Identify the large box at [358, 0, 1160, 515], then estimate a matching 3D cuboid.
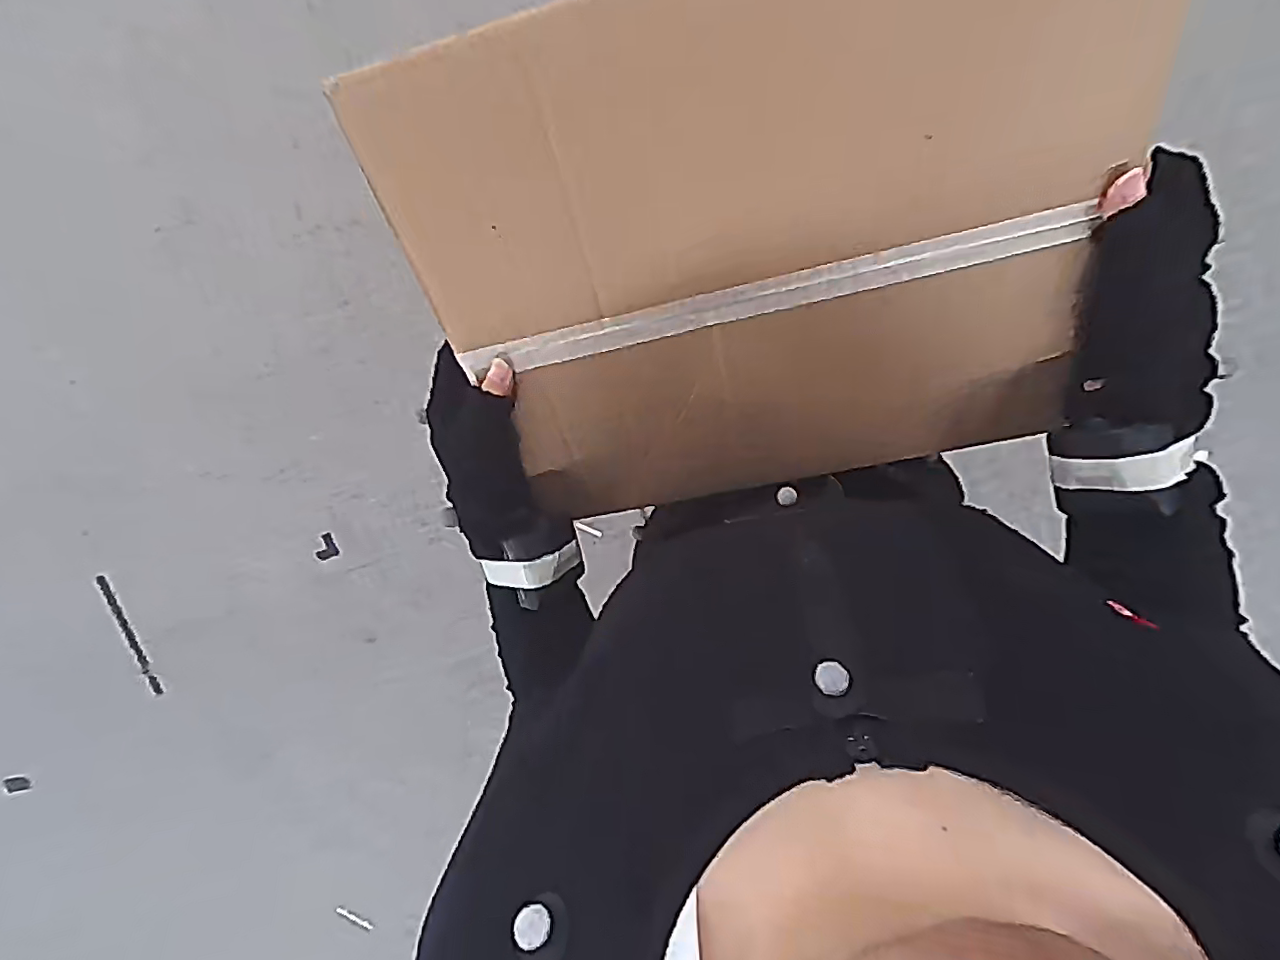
[{"bbox_3d":[0.076,-0.215,0.460,0.408,0.320,0.320,-11,130,9],"label":"large box"}]
